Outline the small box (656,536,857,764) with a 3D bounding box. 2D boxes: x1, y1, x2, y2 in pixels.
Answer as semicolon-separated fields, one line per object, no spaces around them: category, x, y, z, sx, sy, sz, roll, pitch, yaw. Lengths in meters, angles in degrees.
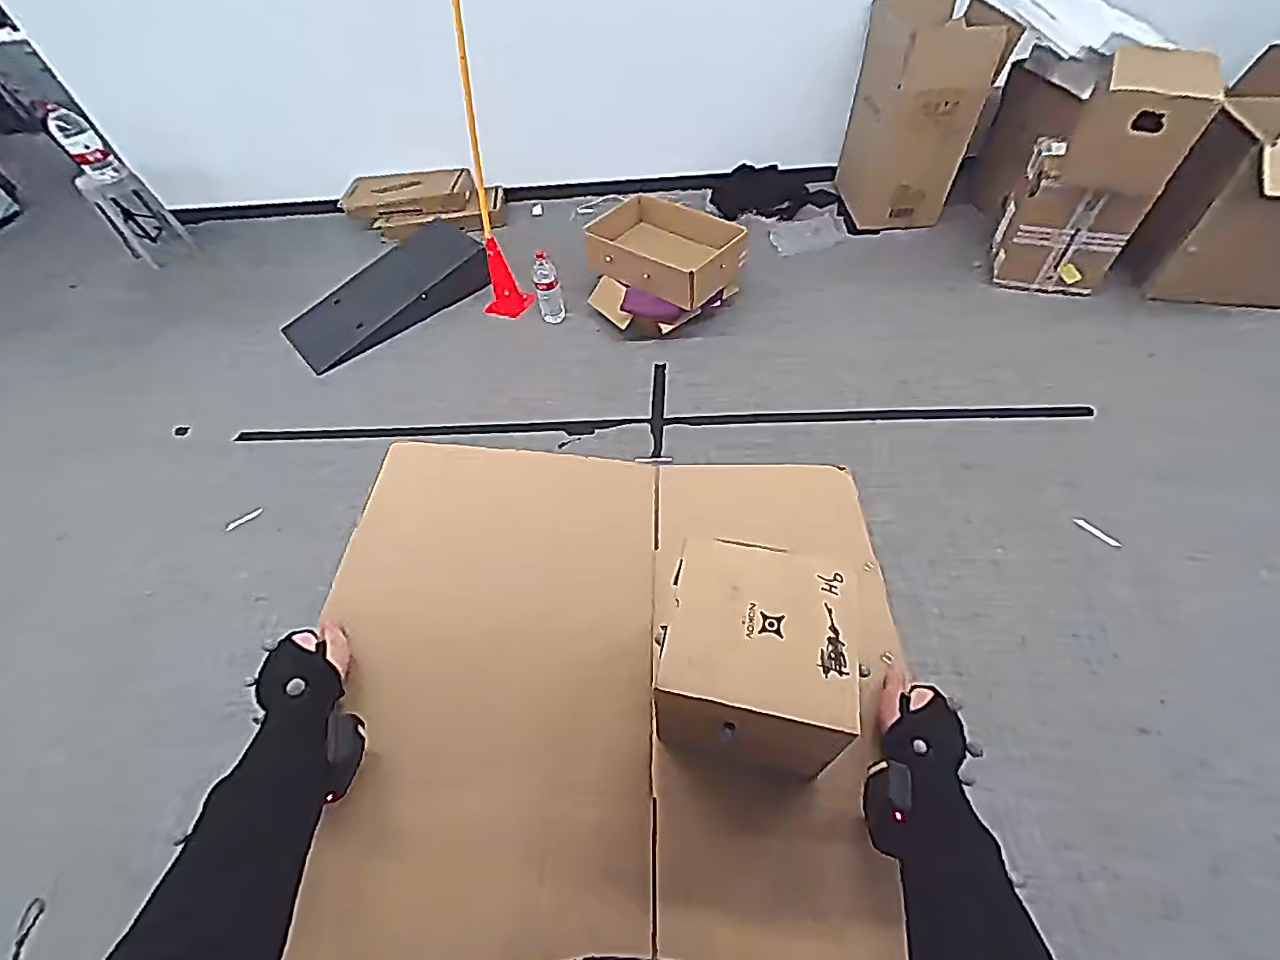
small box;0.121;0.184;0.576;0.179;0.176;0.168;8;53;11
